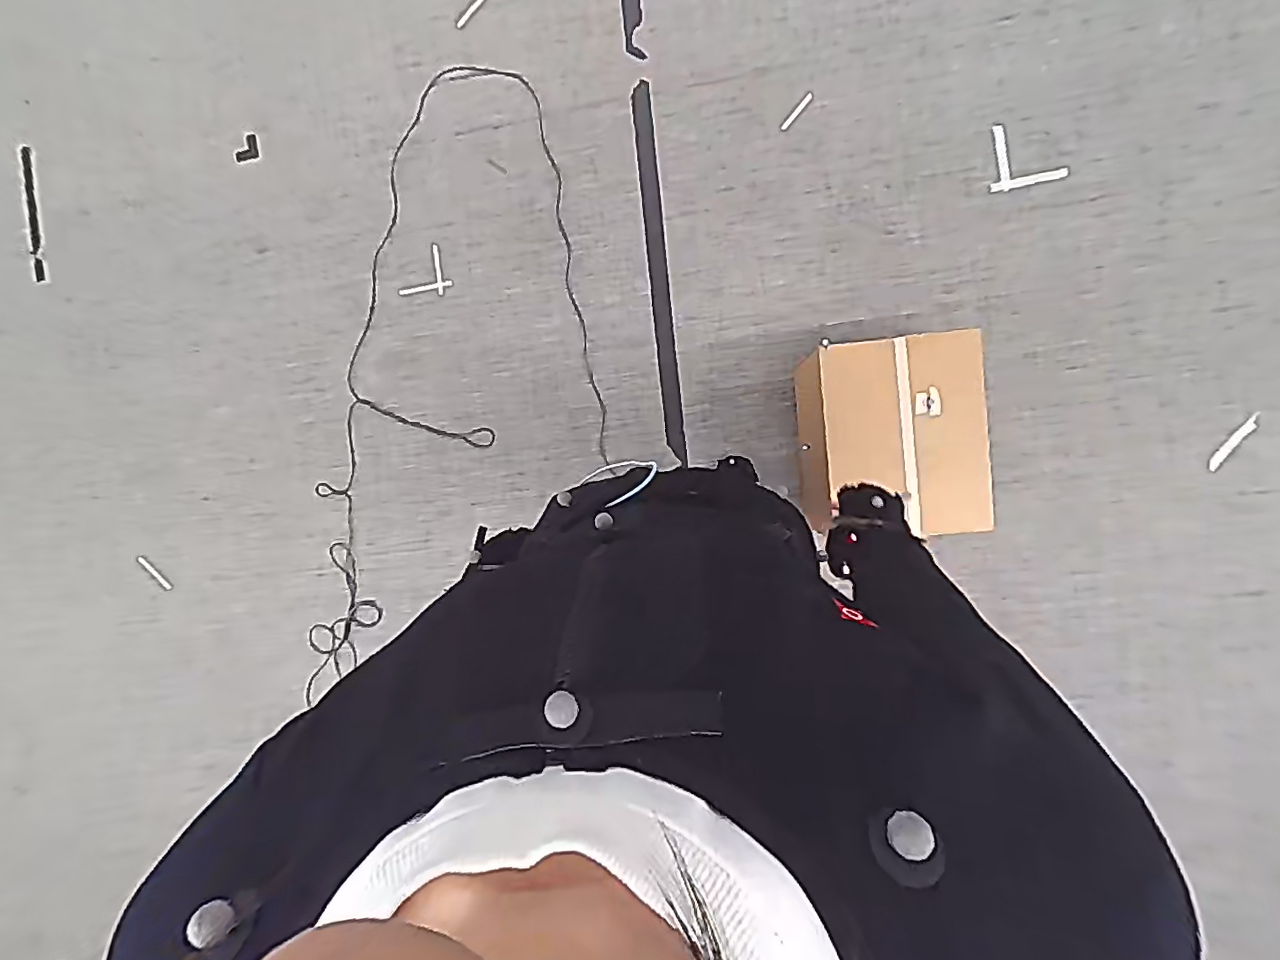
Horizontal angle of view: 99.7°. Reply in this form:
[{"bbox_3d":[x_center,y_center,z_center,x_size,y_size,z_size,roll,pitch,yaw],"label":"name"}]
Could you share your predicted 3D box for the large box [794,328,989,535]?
[{"bbox_3d":[0.552,-0.098,1.252,0.320,0.320,0.408,-5,91,5],"label":"large box"}]
